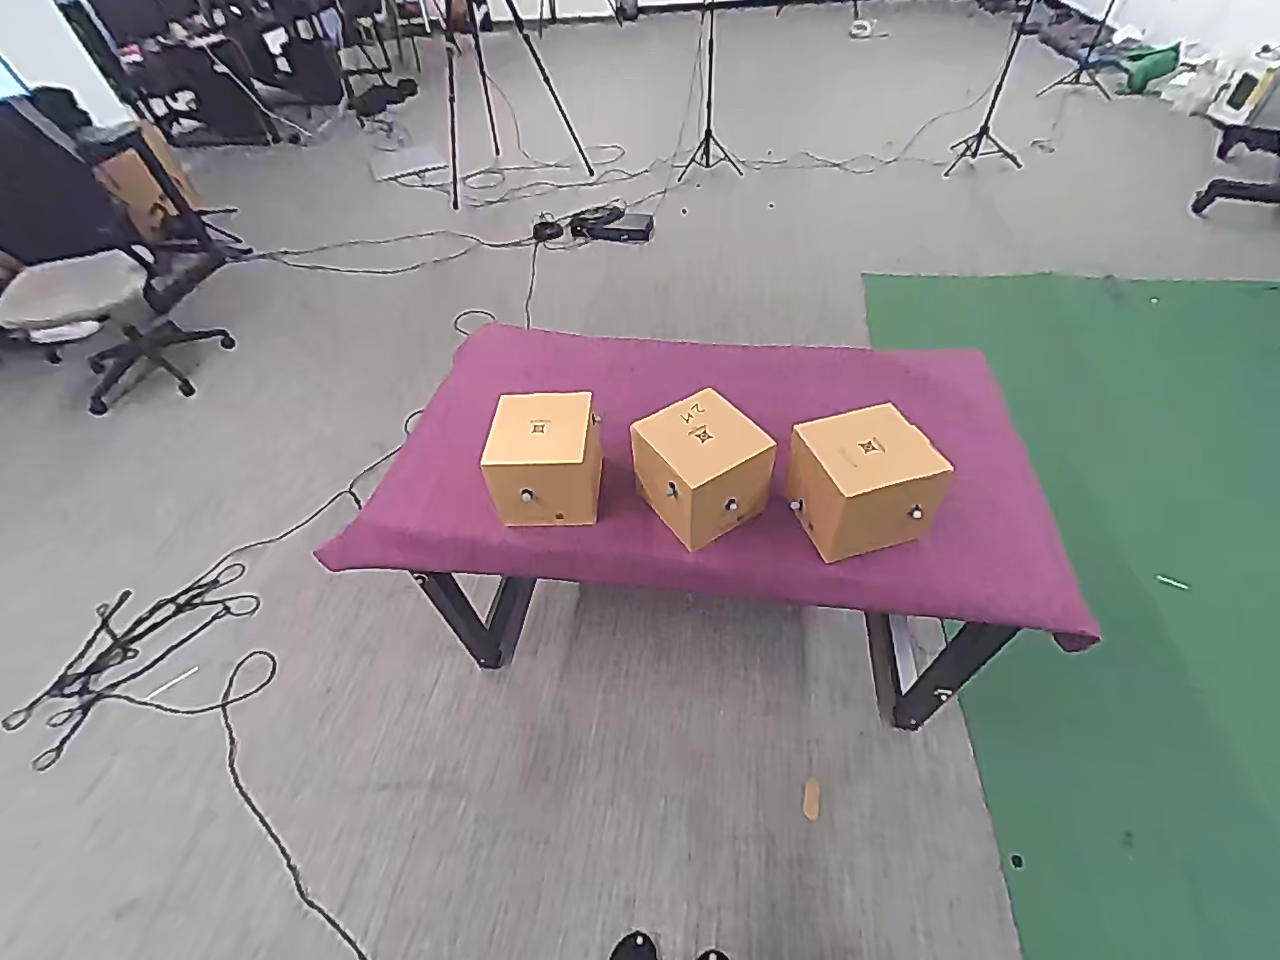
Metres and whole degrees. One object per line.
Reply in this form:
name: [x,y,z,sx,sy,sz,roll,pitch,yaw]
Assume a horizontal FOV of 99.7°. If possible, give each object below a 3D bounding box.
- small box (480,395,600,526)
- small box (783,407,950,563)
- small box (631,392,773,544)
small box: [-0.164,-0.030,0.960,0.168,0.176,0.179,-1,47,3]
small box: [0.354,0.010,0.885,0.179,0.176,0.168,-14,47,-7]
small box: [0.101,-0.014,0.924,0.168,0.176,0.179,-27,52,-19]
